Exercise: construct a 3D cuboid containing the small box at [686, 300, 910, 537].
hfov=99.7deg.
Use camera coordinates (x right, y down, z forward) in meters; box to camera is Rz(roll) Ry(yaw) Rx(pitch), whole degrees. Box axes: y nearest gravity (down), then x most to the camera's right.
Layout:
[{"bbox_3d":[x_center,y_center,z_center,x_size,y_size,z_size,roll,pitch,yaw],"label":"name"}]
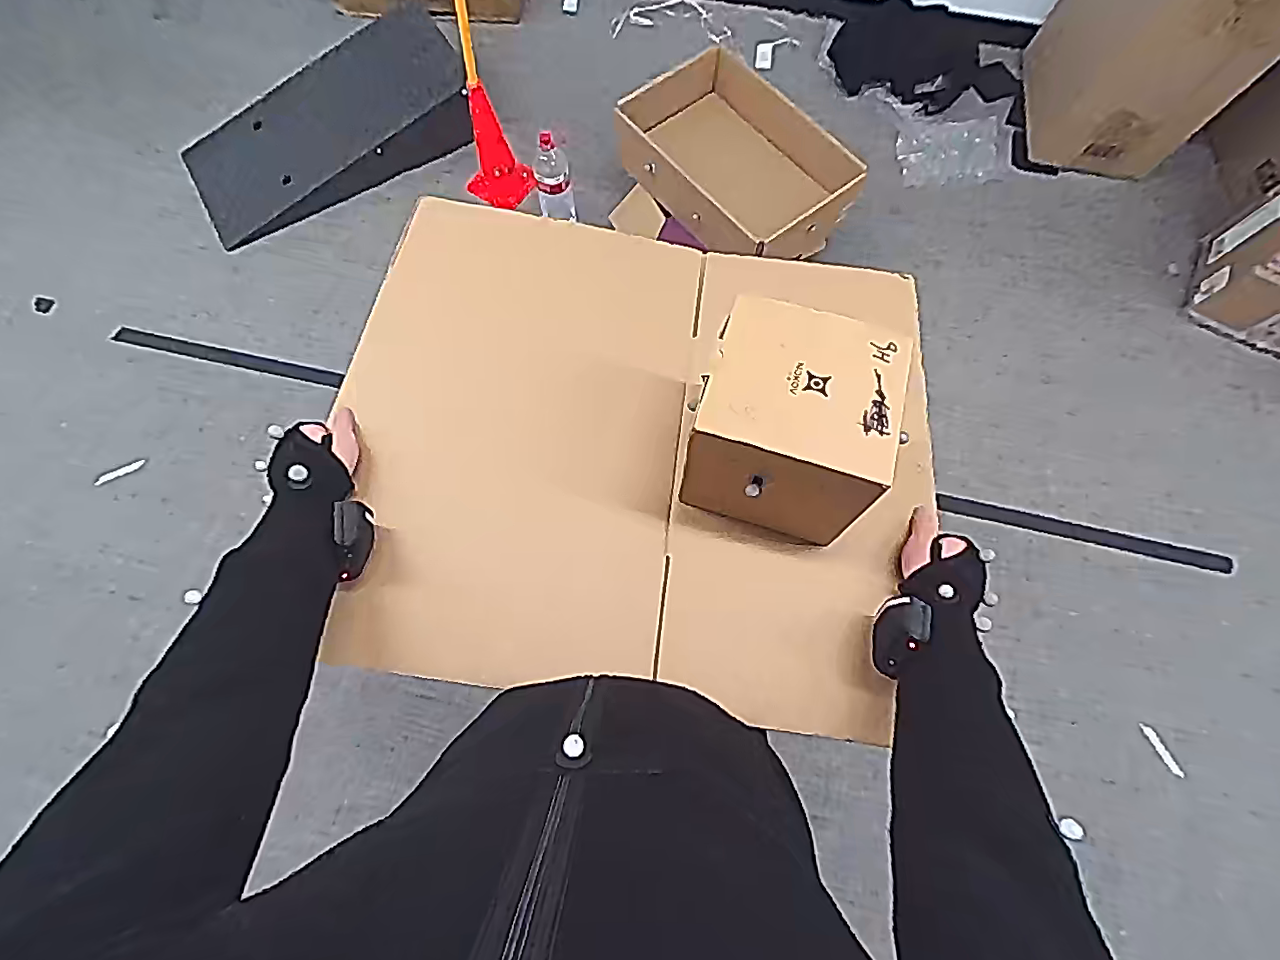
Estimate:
[{"bbox_3d":[0.153,-0.055,0.573,0.179,0.176,0.168,17,67,8],"label":"small box"}]
